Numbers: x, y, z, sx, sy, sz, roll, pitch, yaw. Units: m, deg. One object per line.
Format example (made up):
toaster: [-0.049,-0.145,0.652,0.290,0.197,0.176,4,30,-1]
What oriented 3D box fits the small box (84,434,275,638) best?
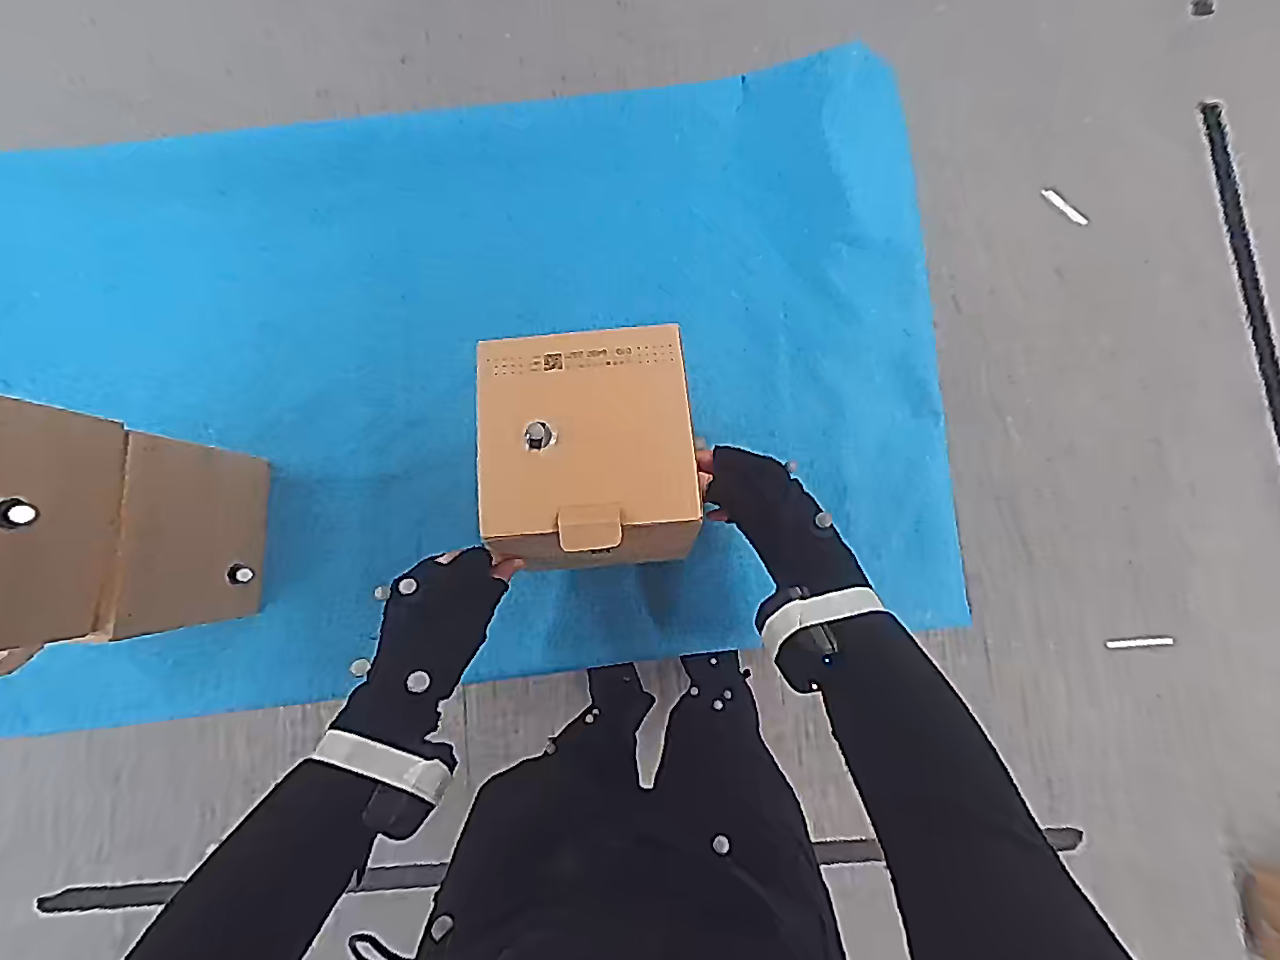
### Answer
small box: [-0.498,0.057,0.527,0.168,0.176,0.179,-1,84,1]

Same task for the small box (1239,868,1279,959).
small box: [1.416,0.949,1.121,0.168,0.176,0.179,-1,85,1]

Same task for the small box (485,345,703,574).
small box: [-0.042,-0.014,0.503,0.168,0.179,0.176,-5,74,-2]

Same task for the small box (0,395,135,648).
small box: [-0.509,0.027,0.365,0.168,0.176,0.179,3,85,1]
